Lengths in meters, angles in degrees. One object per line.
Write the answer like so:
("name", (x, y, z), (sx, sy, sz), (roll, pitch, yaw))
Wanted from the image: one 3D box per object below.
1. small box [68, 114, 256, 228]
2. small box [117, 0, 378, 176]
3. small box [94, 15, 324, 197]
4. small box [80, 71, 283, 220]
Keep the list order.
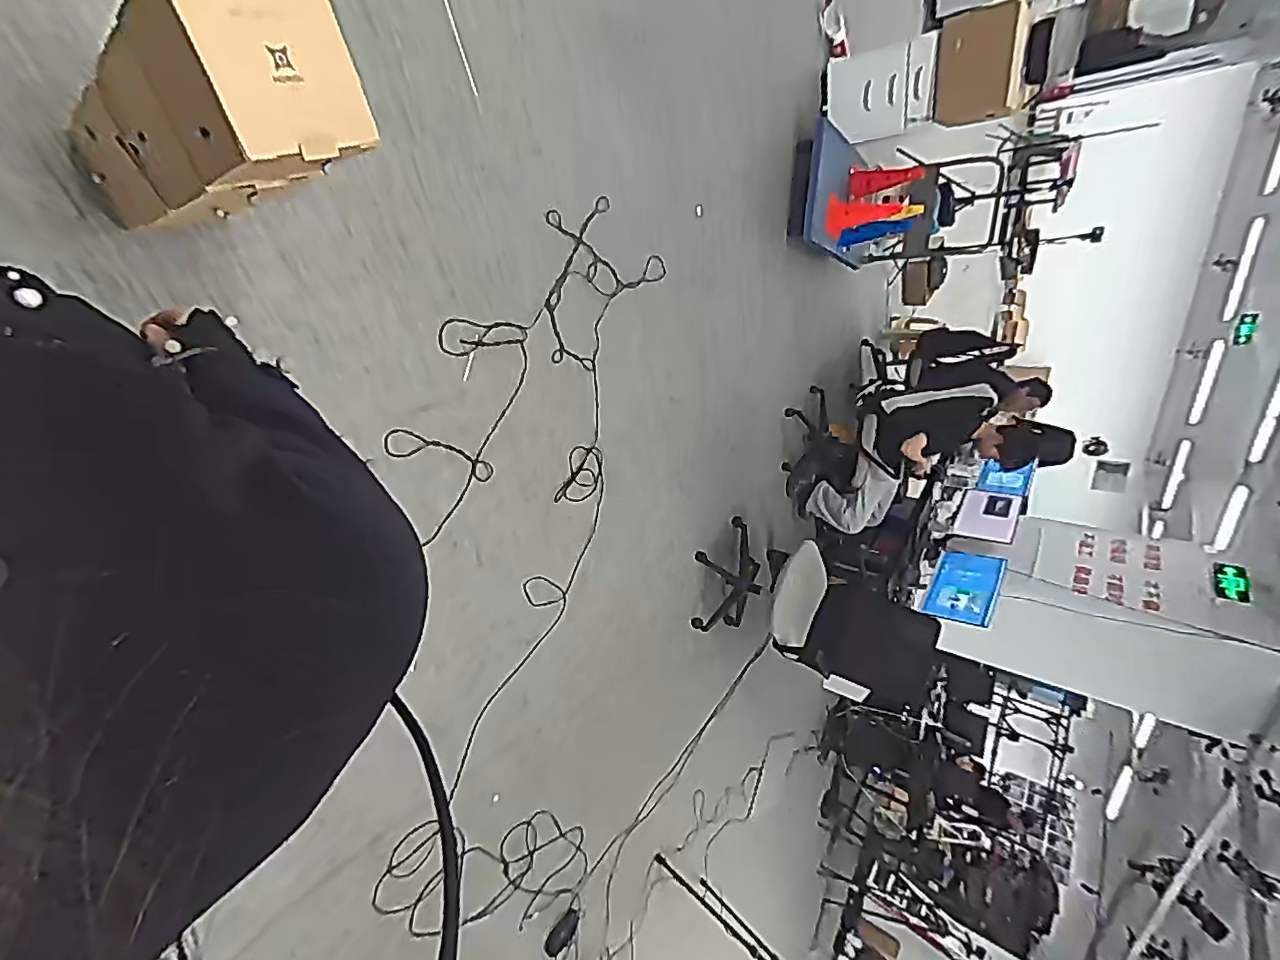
("small box", (-0.833, -0.553, 0.946), (0.179, 0.176, 0.168), (-40, 128, -40))
("small box", (-0.457, -0.477, 0.641), (0.168, 0.176, 0.179), (-42, 129, -38))
("small box", (-0.583, -0.498, 0.740), (0.168, 0.176, 0.179), (-41, 130, -40))
("small box", (-0.712, -0.517, 0.841), (0.179, 0.176, 0.168), (-43, 130, -38))
